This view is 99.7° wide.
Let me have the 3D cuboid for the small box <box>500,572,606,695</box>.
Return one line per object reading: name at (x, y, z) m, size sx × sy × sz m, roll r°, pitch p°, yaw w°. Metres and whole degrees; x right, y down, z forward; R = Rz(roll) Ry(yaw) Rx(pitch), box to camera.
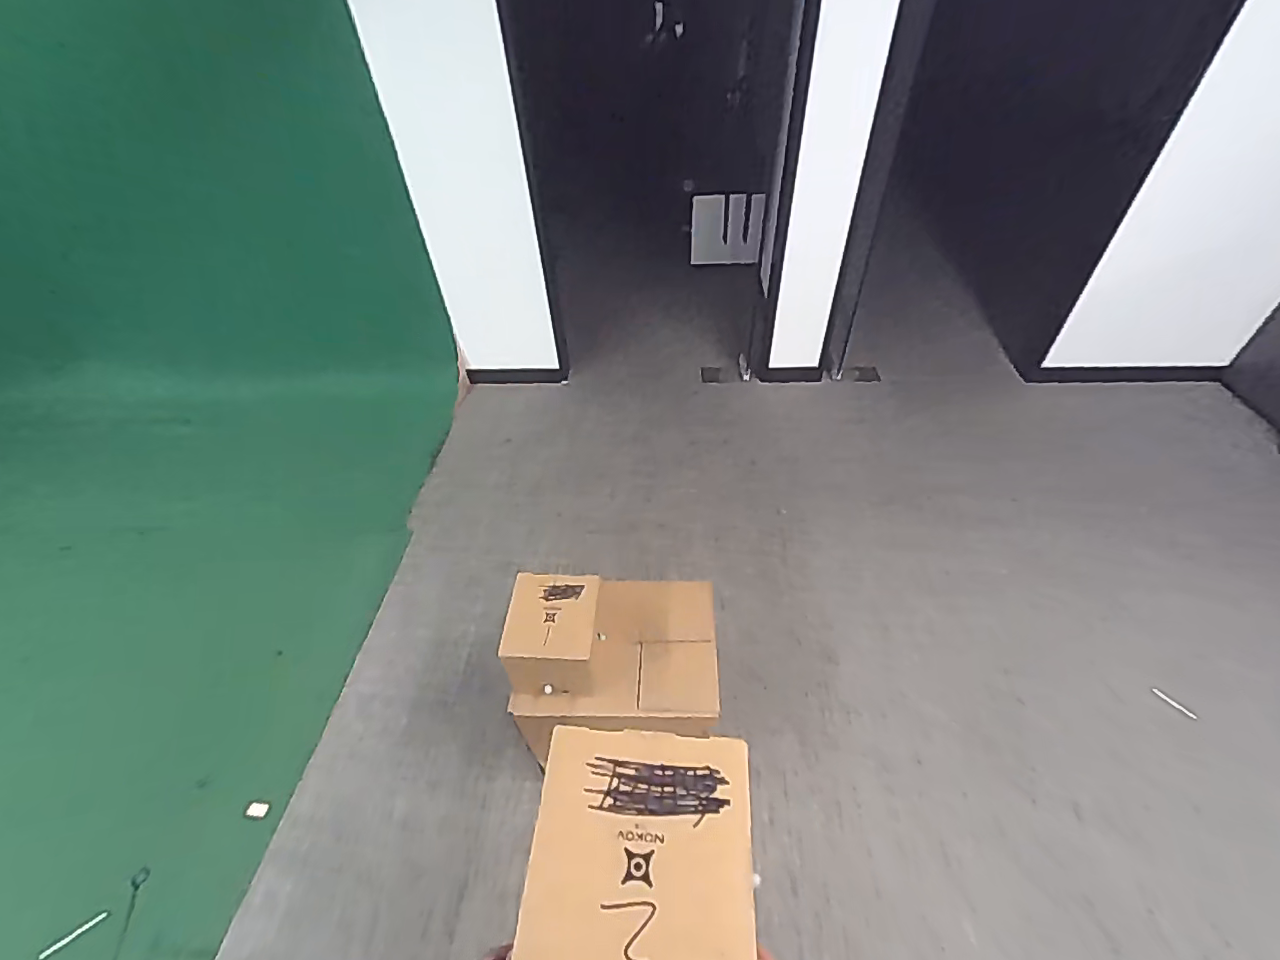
small box at (-0.160, 0.302, 1.066) m, size 0.168 × 0.176 × 0.179 m, roll 2°, pitch 48°, yaw 4°
